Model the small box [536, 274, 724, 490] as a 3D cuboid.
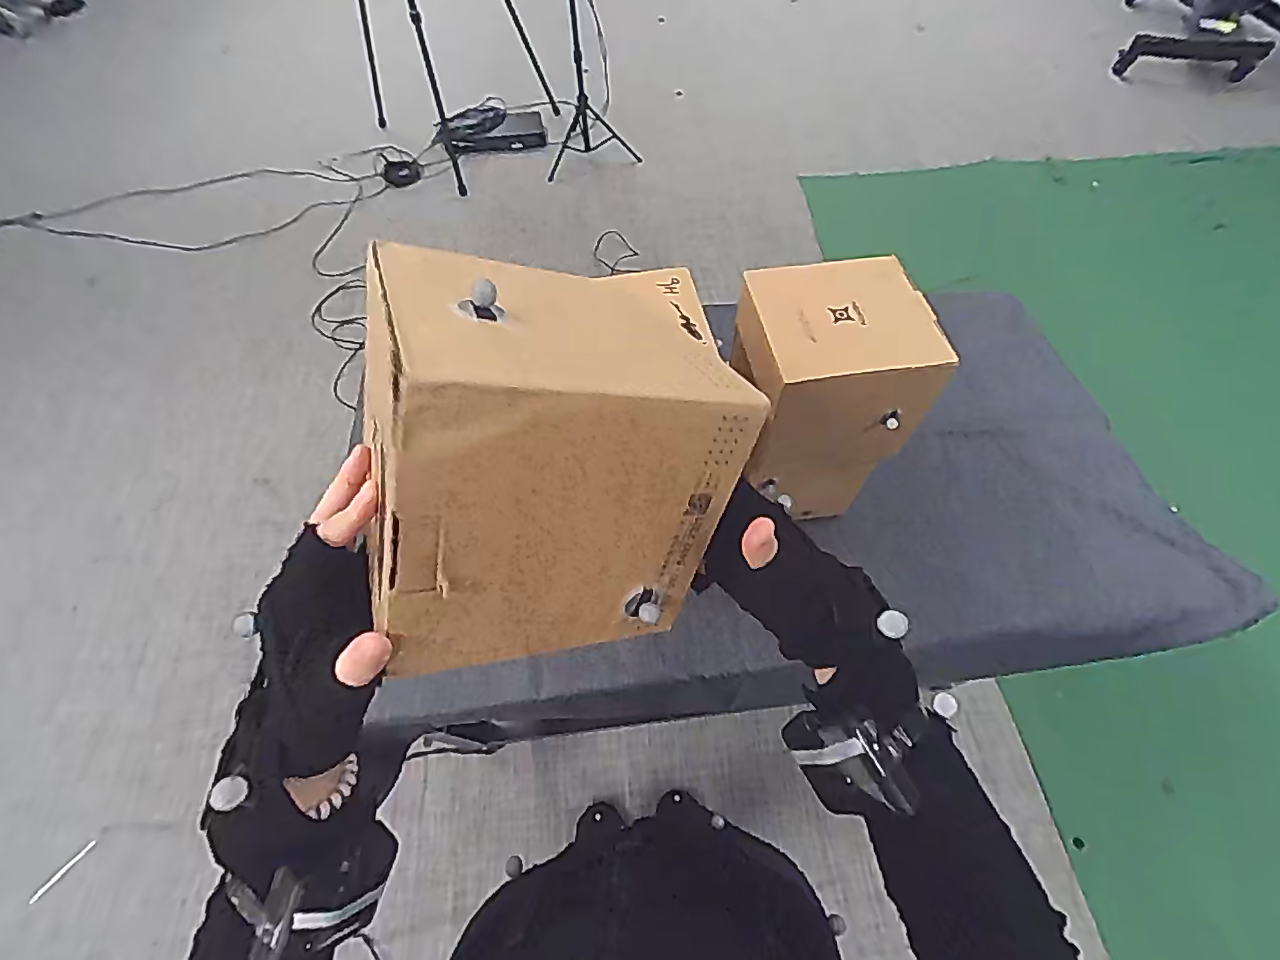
[{"bbox_3d":[-0.012,-0.104,0.624,0.179,0.176,0.168,-10,60,-4],"label":"small box"}]
